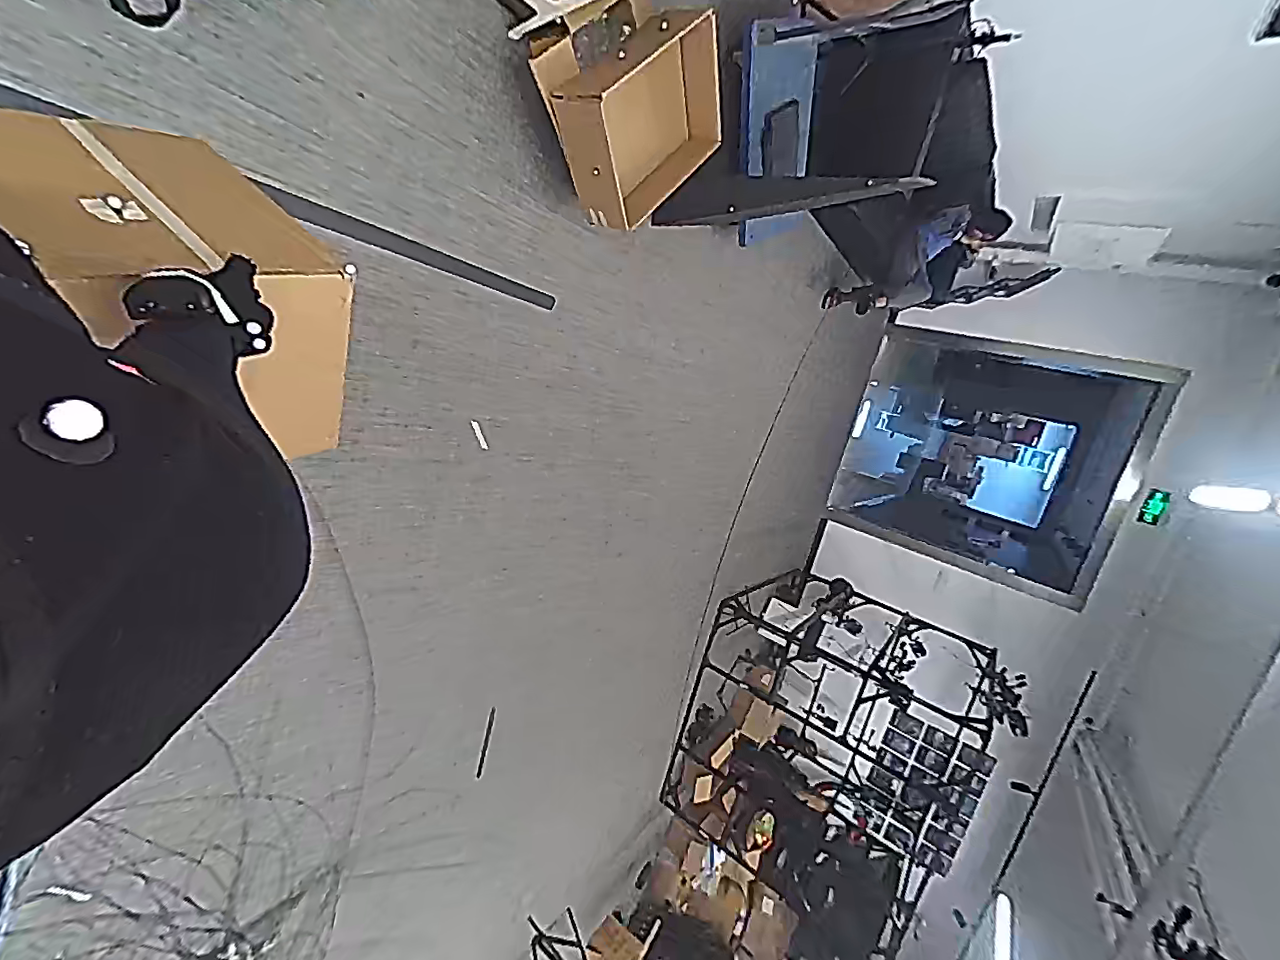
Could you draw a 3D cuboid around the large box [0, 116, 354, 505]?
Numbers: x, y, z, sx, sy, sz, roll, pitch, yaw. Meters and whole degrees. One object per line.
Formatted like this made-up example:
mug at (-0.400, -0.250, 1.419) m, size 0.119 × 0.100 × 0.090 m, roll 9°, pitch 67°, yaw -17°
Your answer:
large box at (-0.679, -0.240, 0.760) m, size 0.320 × 0.408 × 0.320 m, roll -31°, pitch 157°, yaw -49°
